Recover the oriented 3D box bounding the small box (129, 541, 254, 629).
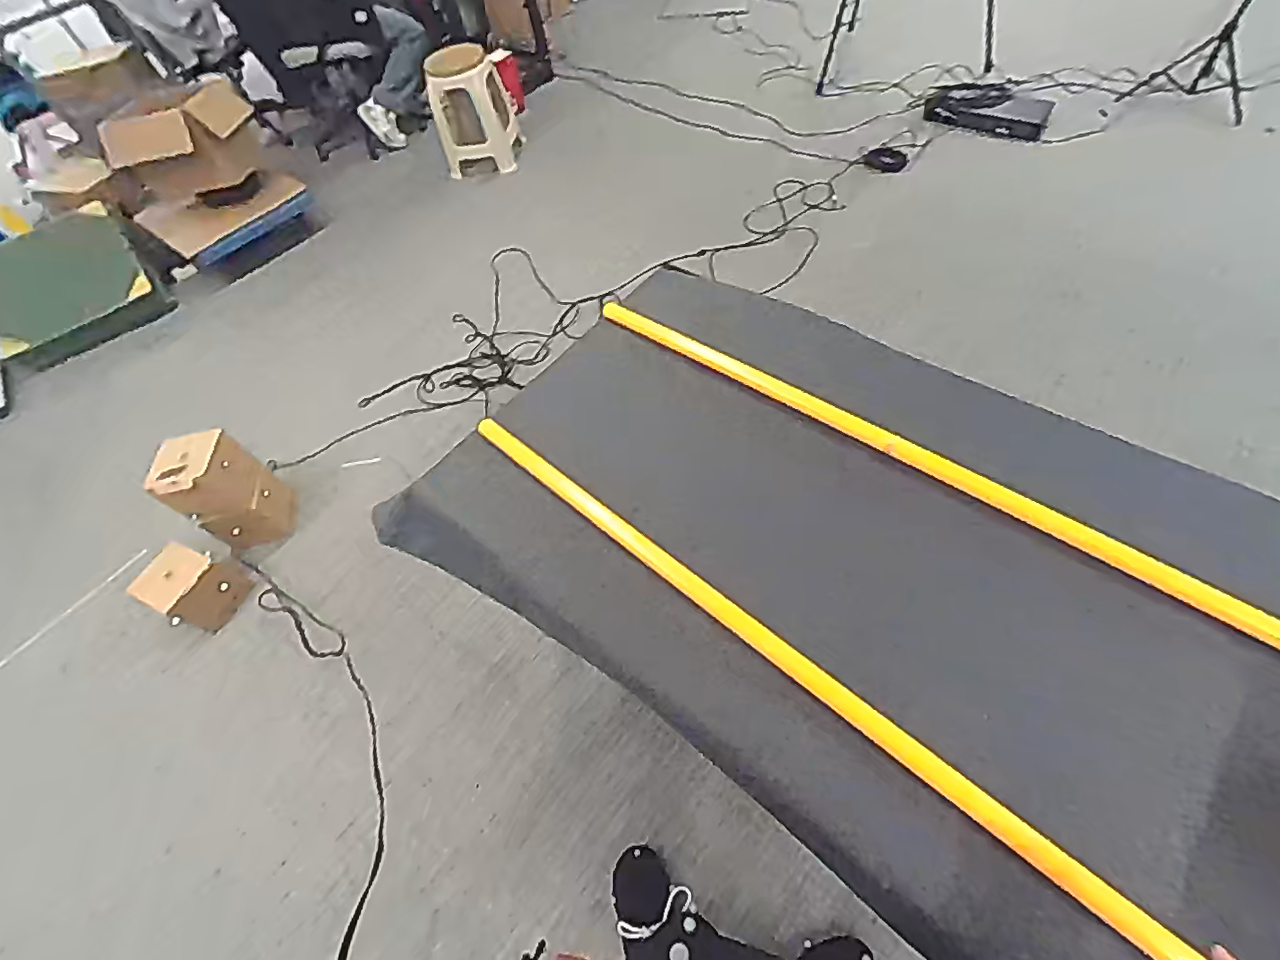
[{"bbox_3d":[-1.252,0.301,1.525,0.179,0.176,0.168,17,60,19],"label":"small box"}]

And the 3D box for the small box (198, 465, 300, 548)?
[{"bbox_3d":[-1.186,0.086,1.654,0.179,0.176,0.168,-16,55,-2],"label":"small box"}]

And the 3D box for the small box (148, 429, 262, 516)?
[{"bbox_3d":[-1.212,-0.013,1.525,0.168,0.176,0.179,-11,55,0],"label":"small box"}]
